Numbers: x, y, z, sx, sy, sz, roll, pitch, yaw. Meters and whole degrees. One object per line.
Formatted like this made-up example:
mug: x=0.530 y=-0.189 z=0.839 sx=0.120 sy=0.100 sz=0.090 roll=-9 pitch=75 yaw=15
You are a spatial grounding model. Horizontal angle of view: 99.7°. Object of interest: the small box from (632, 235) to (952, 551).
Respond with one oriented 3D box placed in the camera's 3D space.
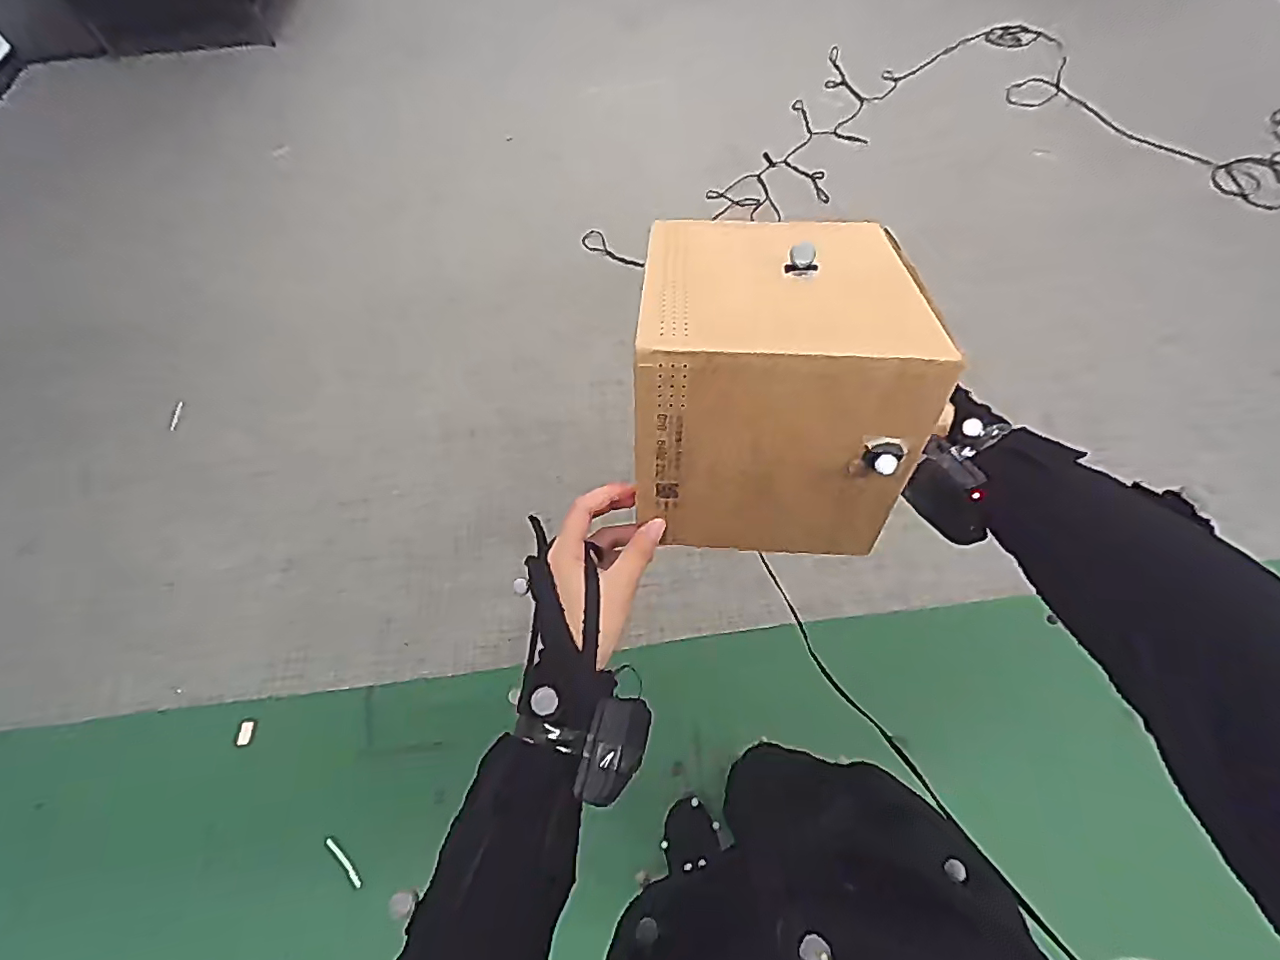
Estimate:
small box: x=0.084 y=-0.068 z=0.398 sx=0.176 sy=0.168 sz=0.179 roll=2 pitch=46 yaw=3
